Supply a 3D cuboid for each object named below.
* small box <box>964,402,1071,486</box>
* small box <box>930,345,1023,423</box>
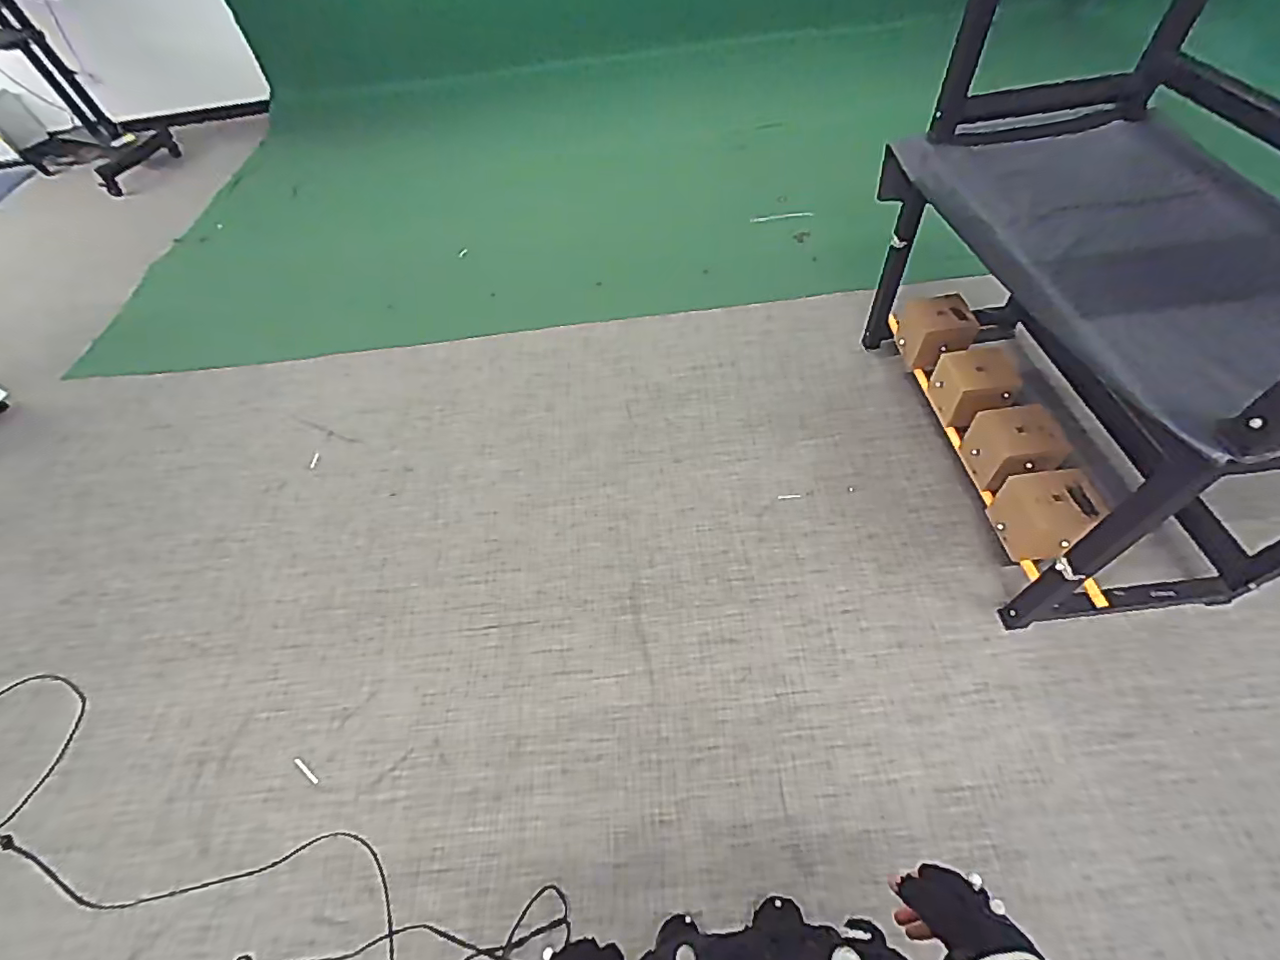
[{"bbox_3d":[1.052,-0.096,1.533,0.179,0.176,0.168,-7,54,2],"label":"small box"},{"bbox_3d":[1.030,-0.292,1.679,0.179,0.176,0.168,-6,55,3],"label":"small box"}]
